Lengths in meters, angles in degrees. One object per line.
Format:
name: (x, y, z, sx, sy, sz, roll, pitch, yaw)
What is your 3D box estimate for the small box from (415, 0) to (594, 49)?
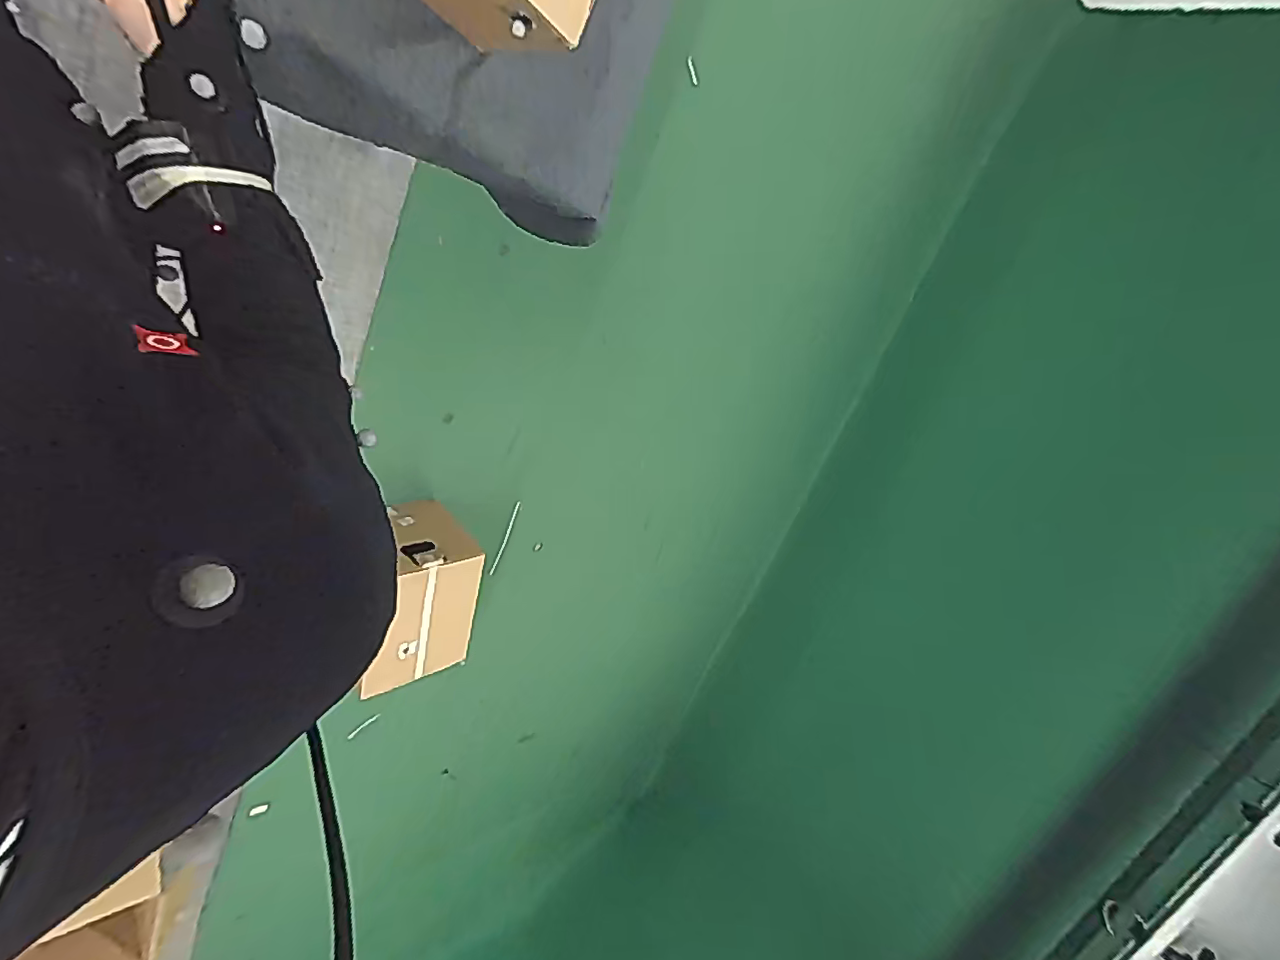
small box: (-0.132, -0.483, 0.429, 0.179, 0.176, 0.168, 8, 111, -53)
